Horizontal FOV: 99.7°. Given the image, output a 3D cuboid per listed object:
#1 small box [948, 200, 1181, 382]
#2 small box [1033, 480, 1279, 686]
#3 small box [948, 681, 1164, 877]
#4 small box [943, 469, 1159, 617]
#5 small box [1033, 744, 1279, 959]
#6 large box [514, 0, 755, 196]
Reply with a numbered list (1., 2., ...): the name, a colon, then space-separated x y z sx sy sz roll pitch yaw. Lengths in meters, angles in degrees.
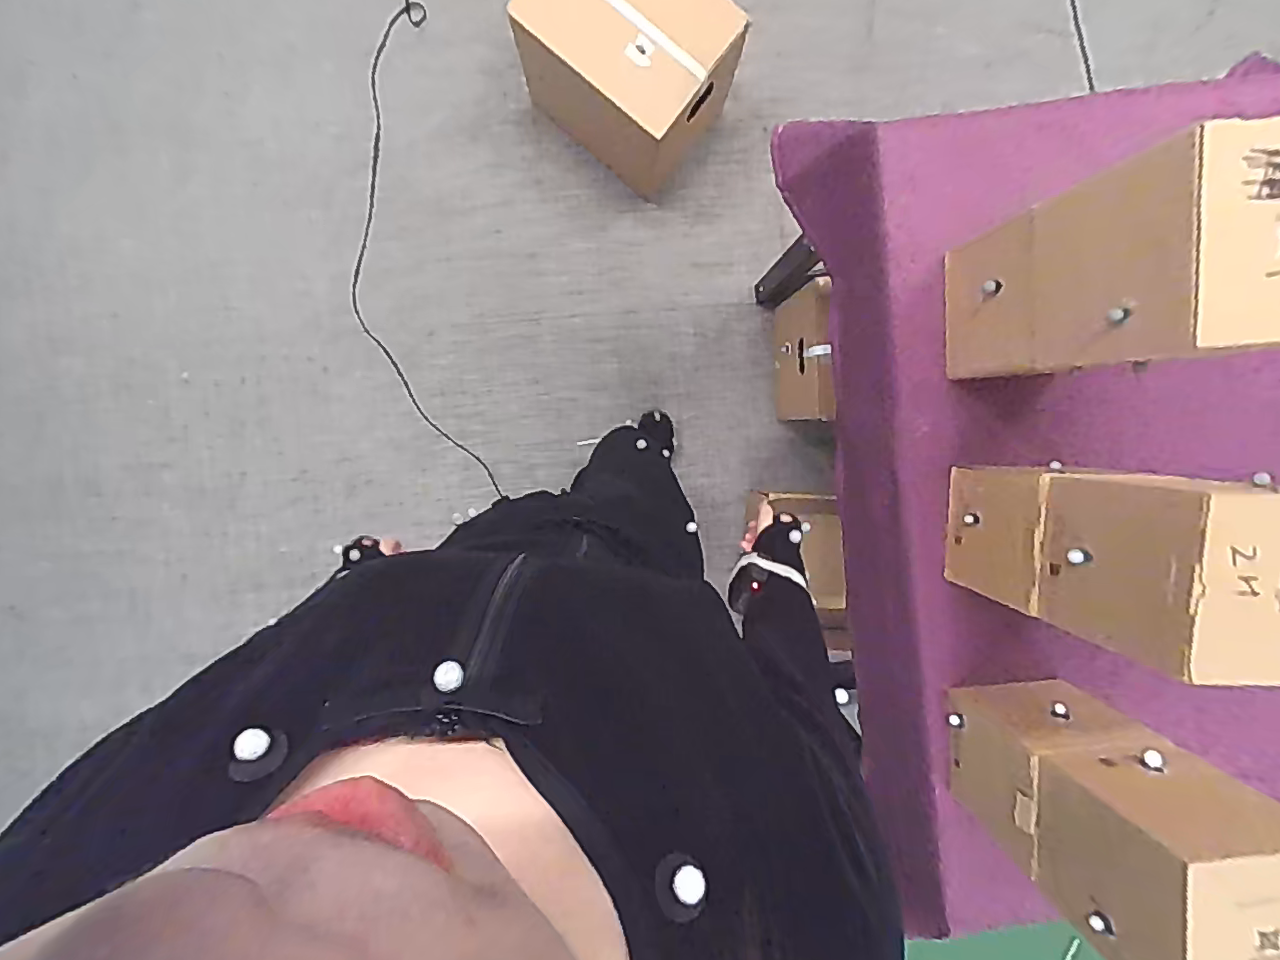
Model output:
1. small box: 0.511 -0.222 0.675 0.168 0.176 0.179 -4 95 -1
2. small box: 0.549 0.090 0.544 0.179 0.176 0.168 2 95 -2
3. small box: 0.548 0.393 0.736 0.179 0.176 0.168 -4 96 -3
4. small box: 0.536 0.073 0.707 0.179 0.176 0.168 1 95 -2
5. small box: 0.557 0.412 0.574 0.168 0.176 0.179 -3 95 -3
6. large box: -0.019 -0.963 1.246 0.408 0.320 0.320 38 94 -6
